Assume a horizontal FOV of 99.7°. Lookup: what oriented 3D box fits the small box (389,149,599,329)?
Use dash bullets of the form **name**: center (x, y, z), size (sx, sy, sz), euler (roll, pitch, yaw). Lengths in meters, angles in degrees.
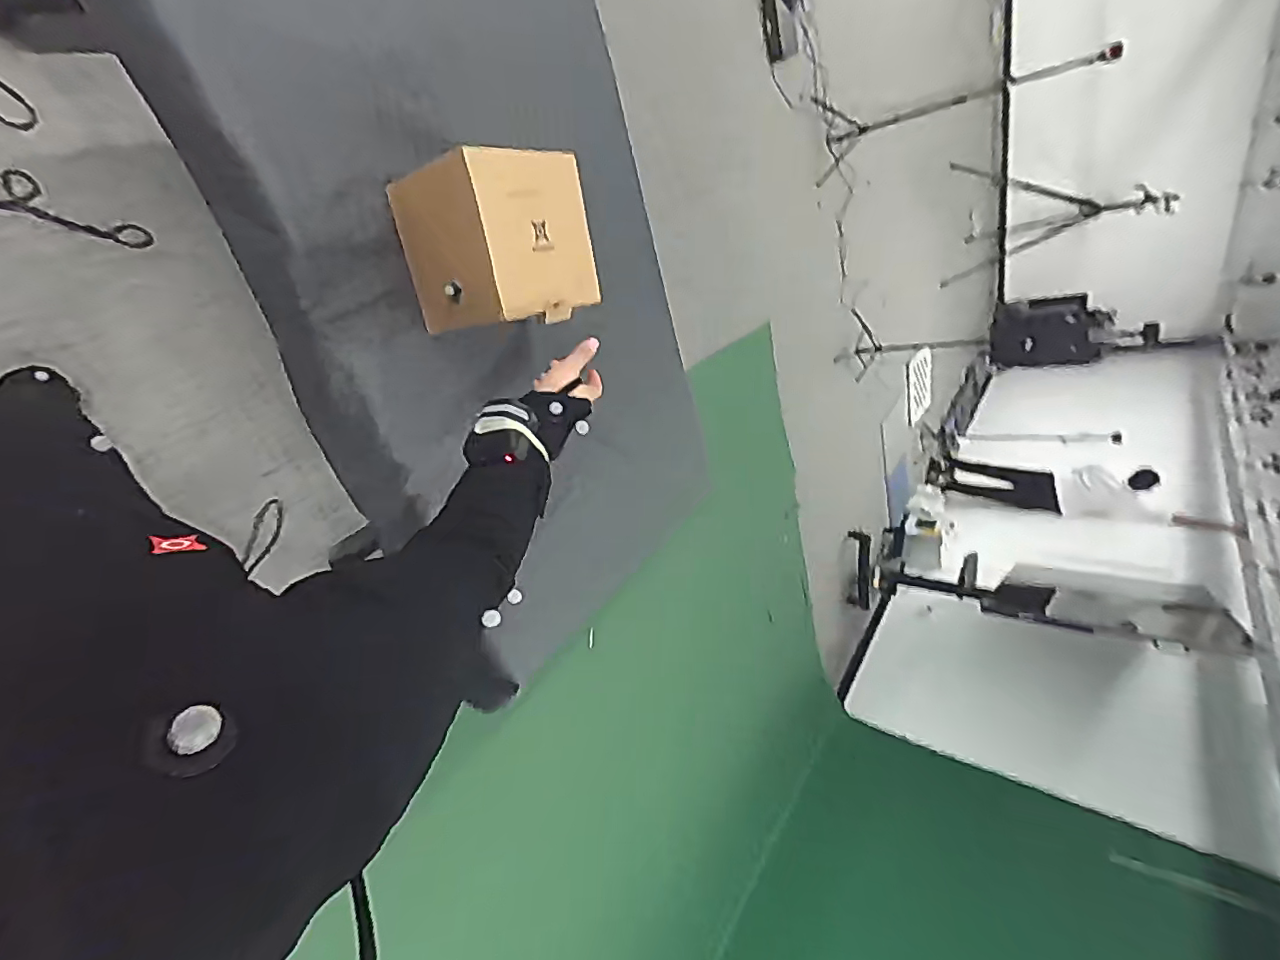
- **small box**: center (-0.180, -0.291, 0.681), size (0.168, 0.176, 0.179), euler (-32, 118, -45)
